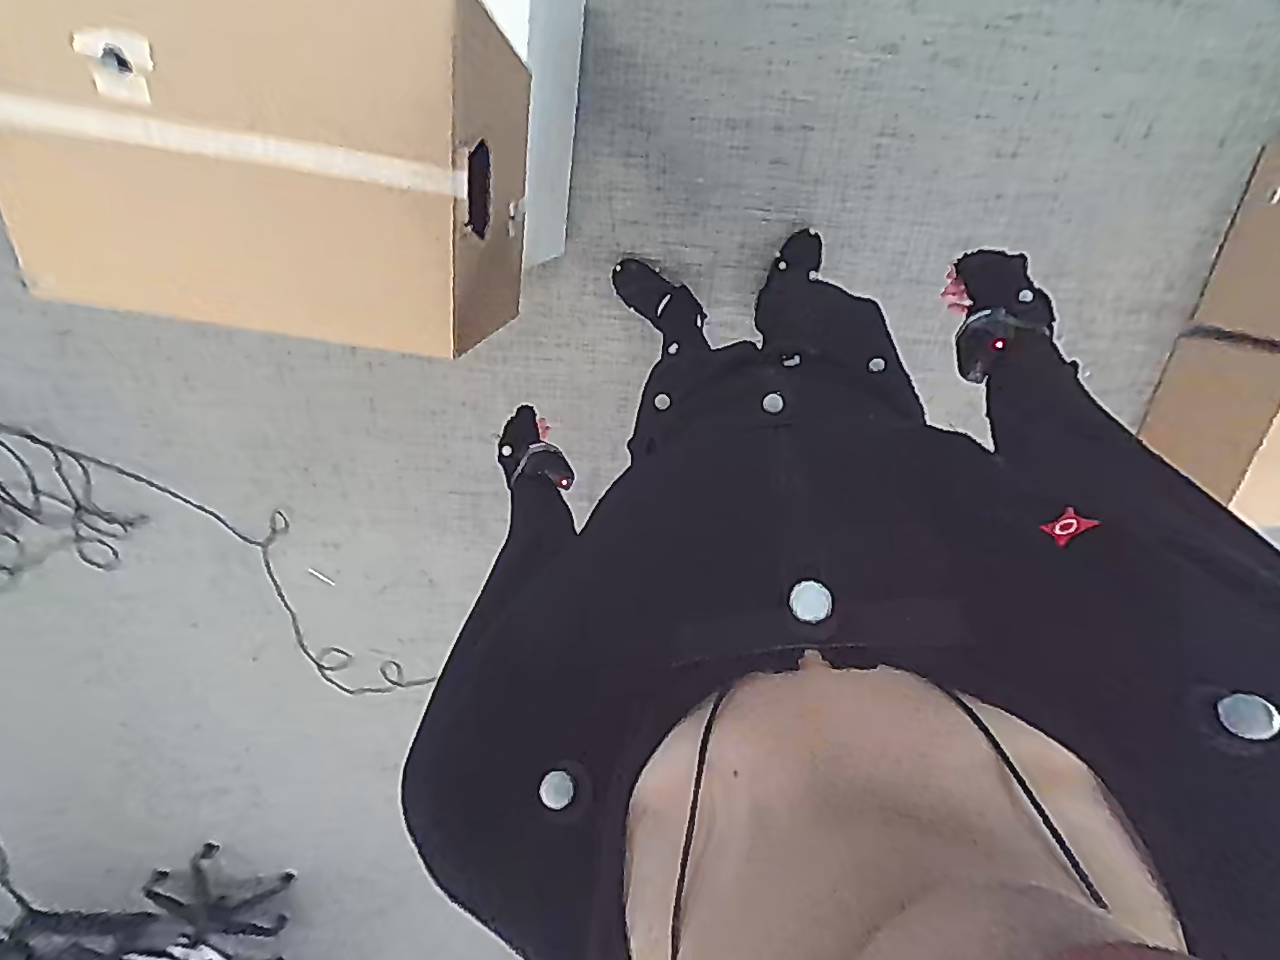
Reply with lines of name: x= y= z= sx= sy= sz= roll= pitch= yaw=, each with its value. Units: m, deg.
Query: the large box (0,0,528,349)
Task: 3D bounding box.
large box: x=-0.357 y=-0.356 z=0.606 sx=0.408 sy=0.320 sz=0.320 roll=8 pitch=115 yaw=-2
